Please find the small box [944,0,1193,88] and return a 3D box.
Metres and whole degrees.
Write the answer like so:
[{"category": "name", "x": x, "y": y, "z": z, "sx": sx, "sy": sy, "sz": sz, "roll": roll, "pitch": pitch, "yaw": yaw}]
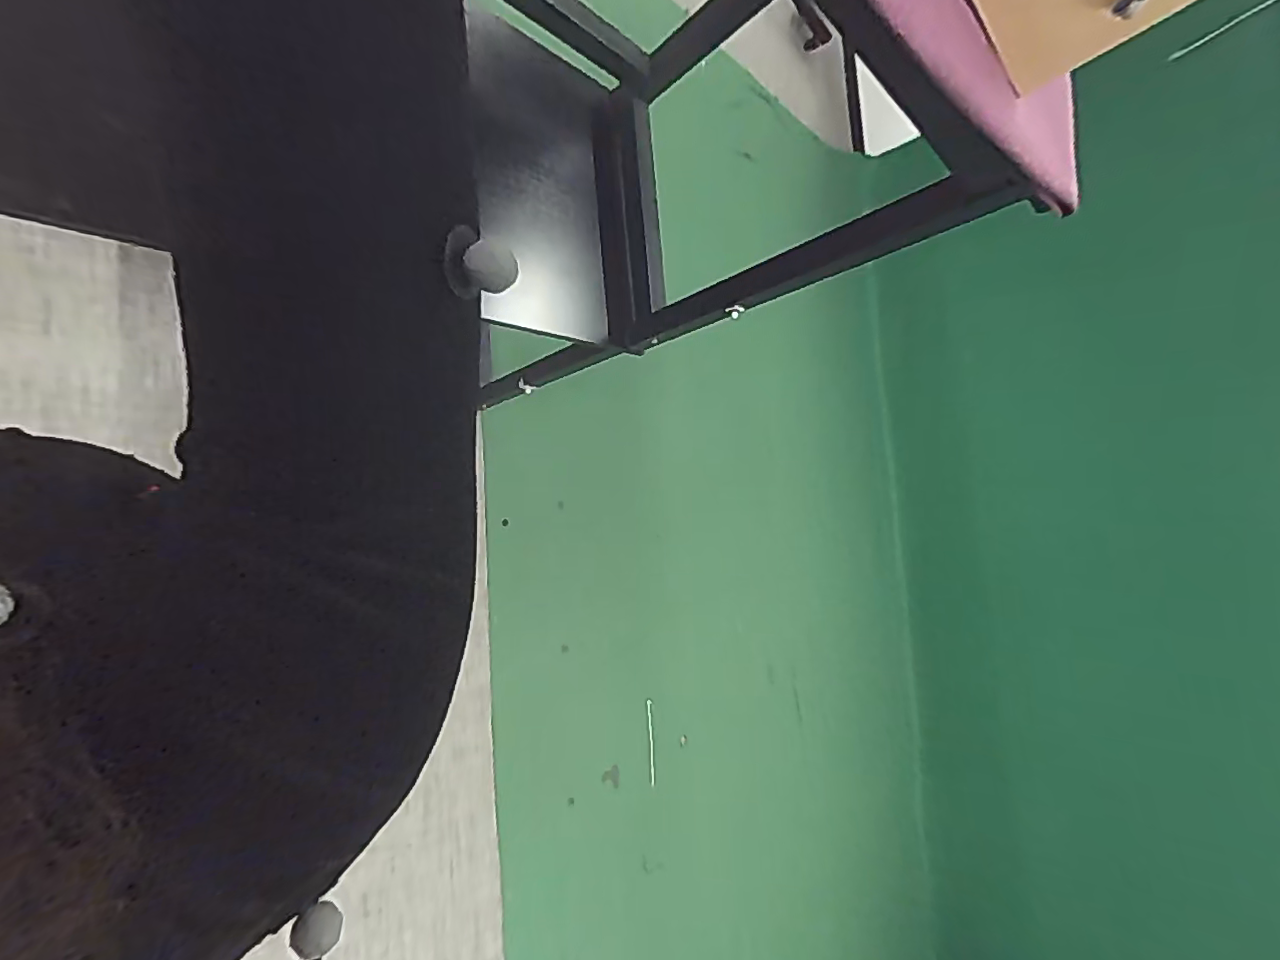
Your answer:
[{"category": "small box", "x": 0.361, "y": -0.484, "z": 0.455, "sx": 0.179, "sy": 0.176, "sz": 0.168, "roll": 7, "pitch": 77, "yaw": -41}]
